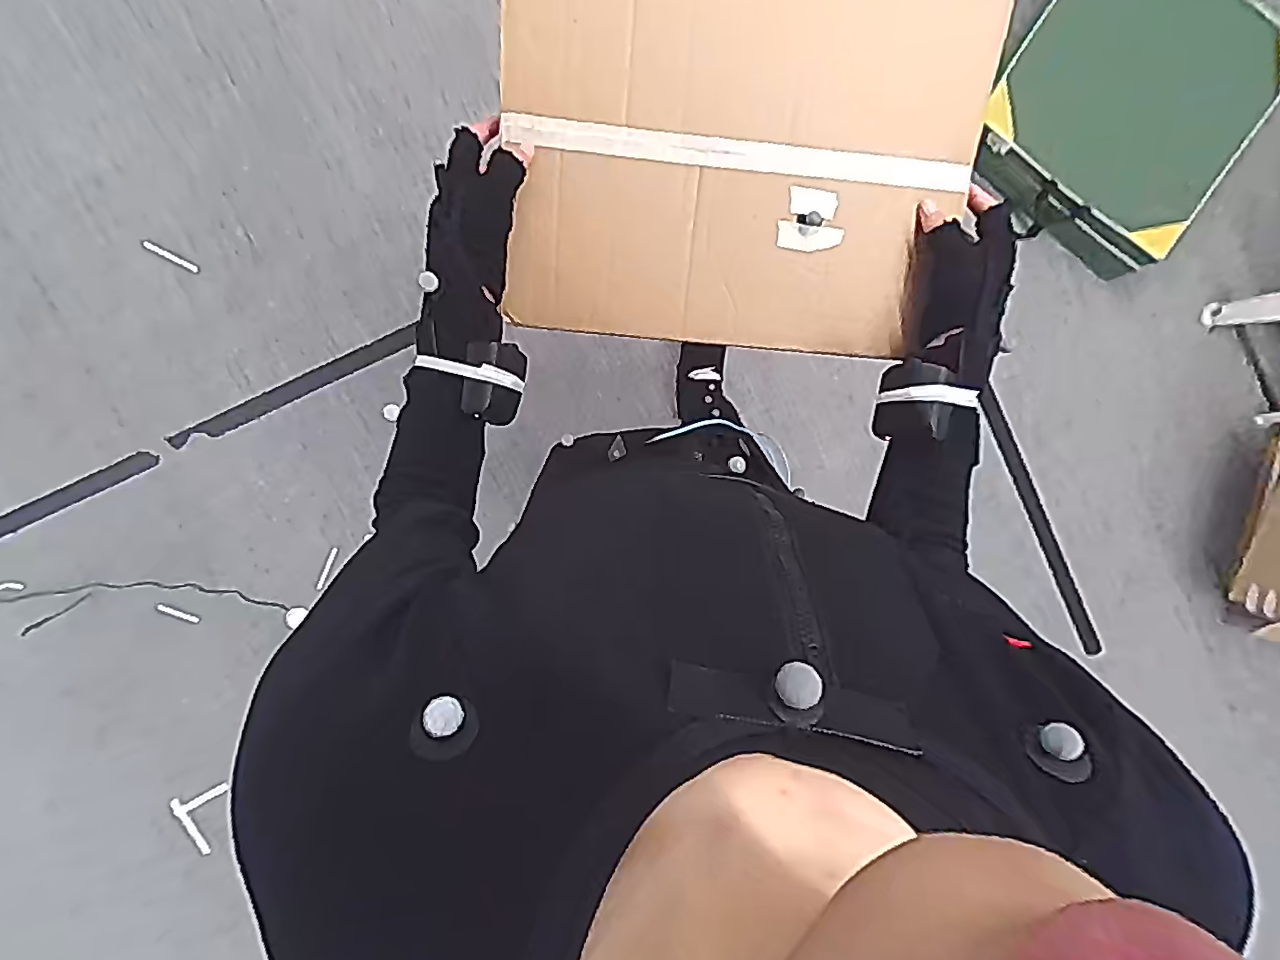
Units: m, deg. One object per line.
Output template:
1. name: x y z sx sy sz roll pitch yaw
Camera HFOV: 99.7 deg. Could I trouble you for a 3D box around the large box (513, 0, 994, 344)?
1. large box: 0.078 -0.339 0.617 0.408 0.320 0.320 4 110 -5
